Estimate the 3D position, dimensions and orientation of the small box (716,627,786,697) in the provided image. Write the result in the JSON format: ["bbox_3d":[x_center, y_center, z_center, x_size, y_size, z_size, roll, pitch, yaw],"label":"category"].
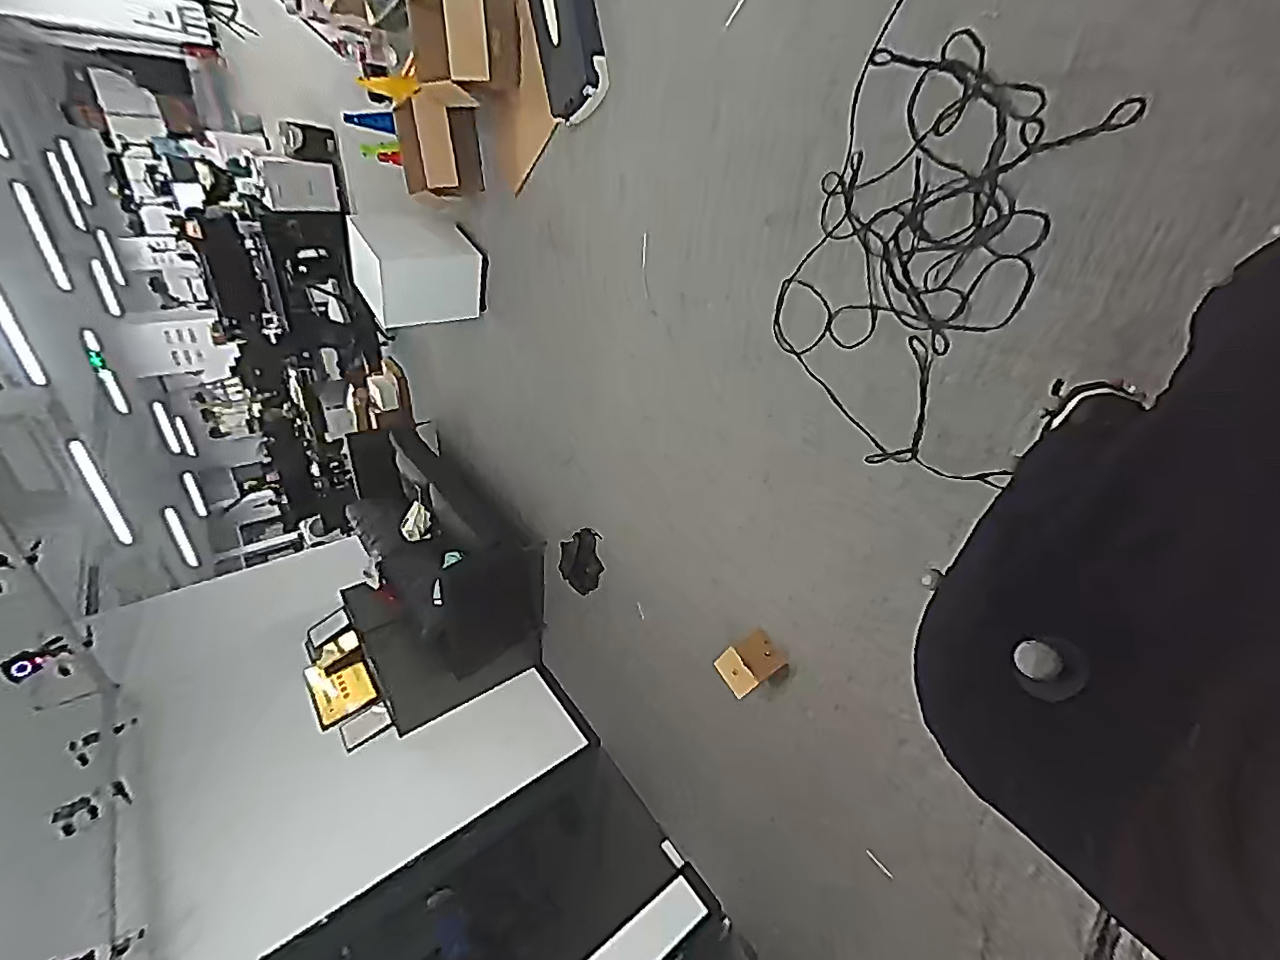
[{"bbox_3d":[0.431,0.702,2.093,0.168,0.176,0.179,53,142,25],"label":"small box"}]
